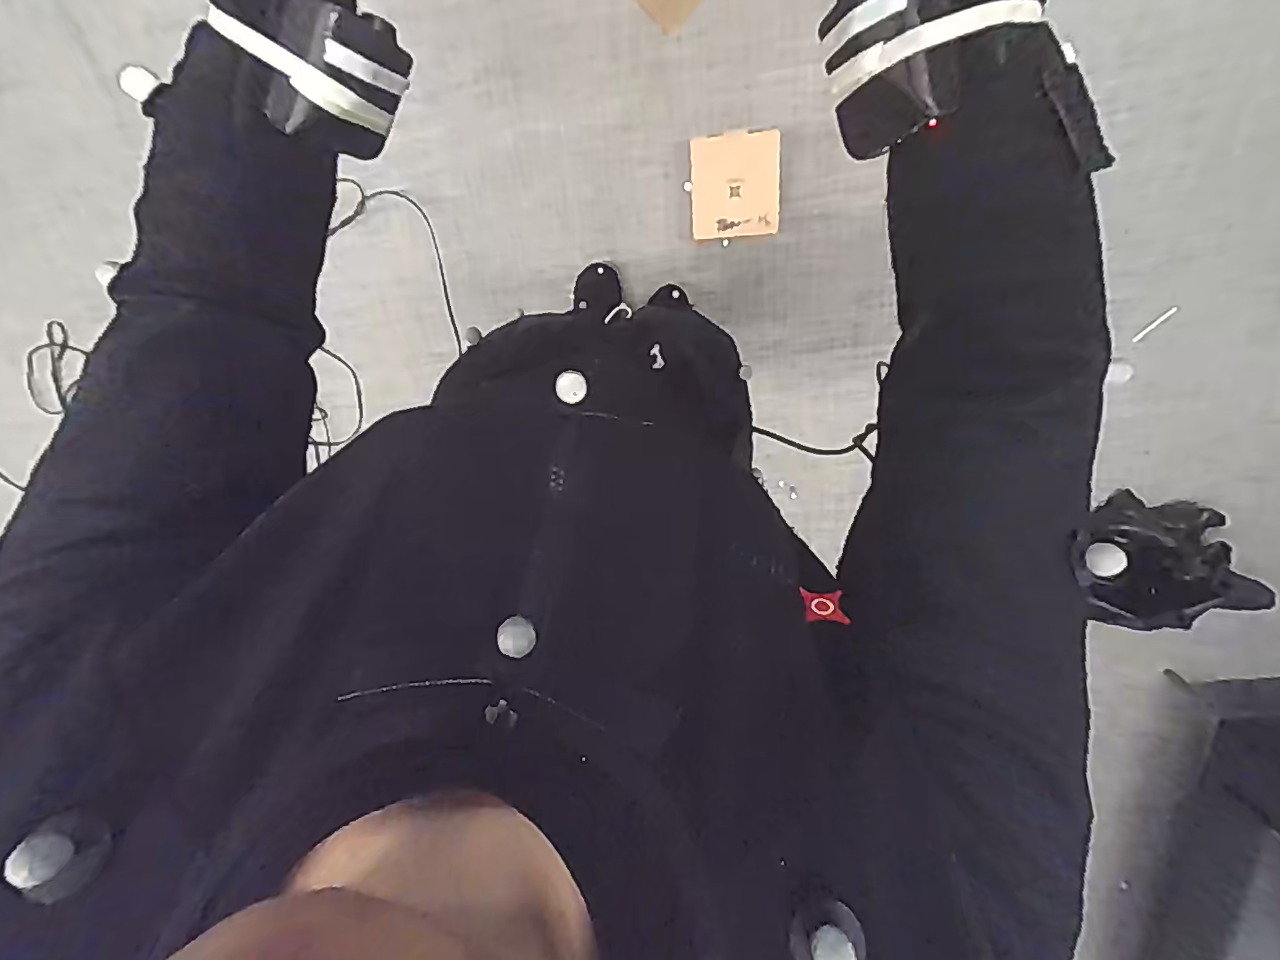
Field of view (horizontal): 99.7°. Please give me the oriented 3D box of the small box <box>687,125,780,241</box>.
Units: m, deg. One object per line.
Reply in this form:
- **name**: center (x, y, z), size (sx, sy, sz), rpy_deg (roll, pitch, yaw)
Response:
- **small box**: center (0.181, -0.584, 1.083), size (0.168, 0.176, 0.179), rpy_deg (-3, 111, 5)
